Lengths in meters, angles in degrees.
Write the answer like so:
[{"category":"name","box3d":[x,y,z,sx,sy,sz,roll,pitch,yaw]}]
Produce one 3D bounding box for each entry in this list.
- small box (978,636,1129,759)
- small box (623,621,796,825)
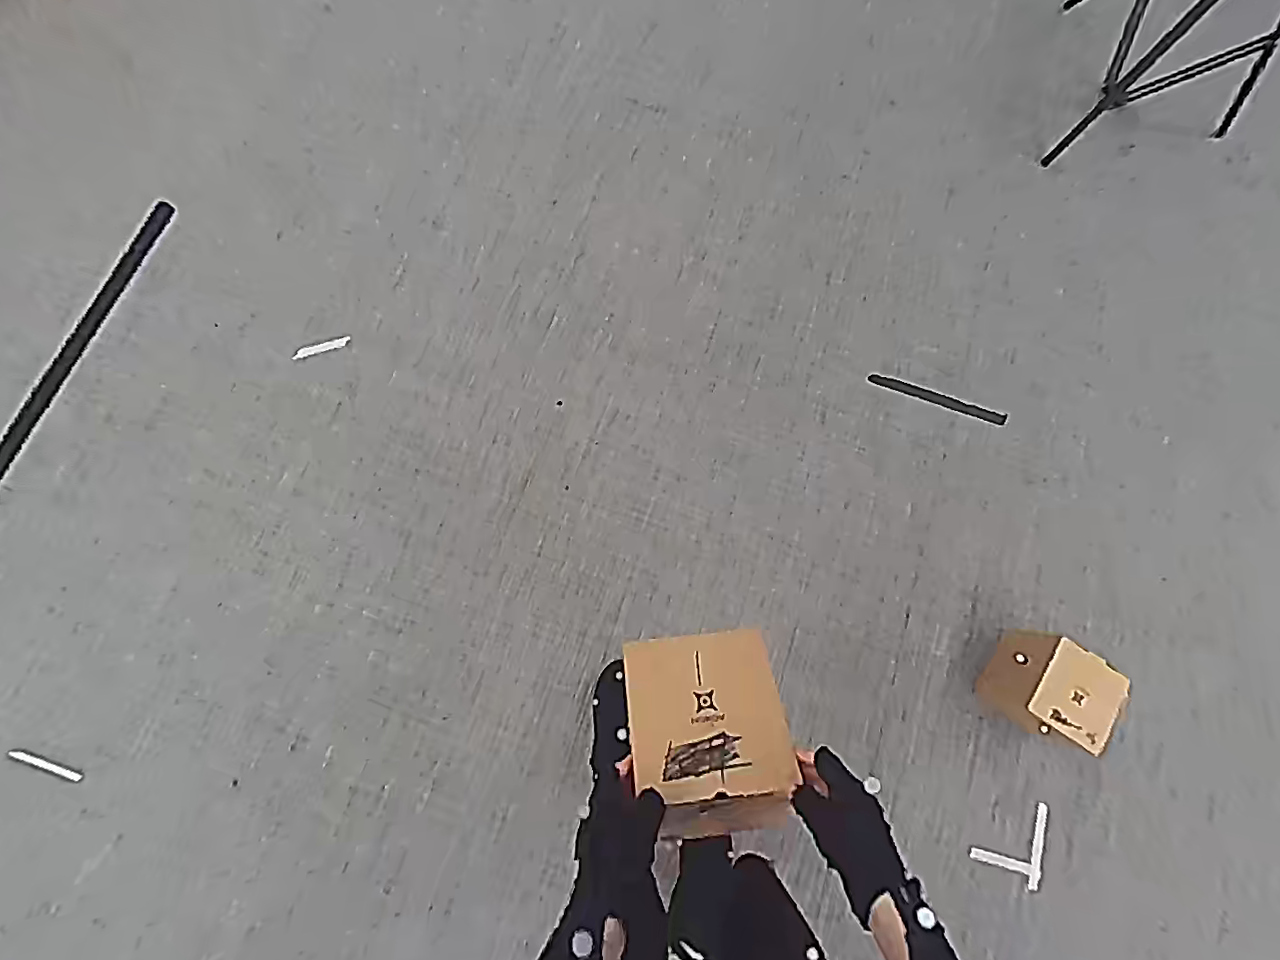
[{"category":"small box","box3d":[0.876,0.453,1.164,0.168,0.176,0.179,35,78,4]},{"category":"small box","box3d":[0.071,0.292,0.642,0.168,0.176,0.179,-5,47,-3]}]
